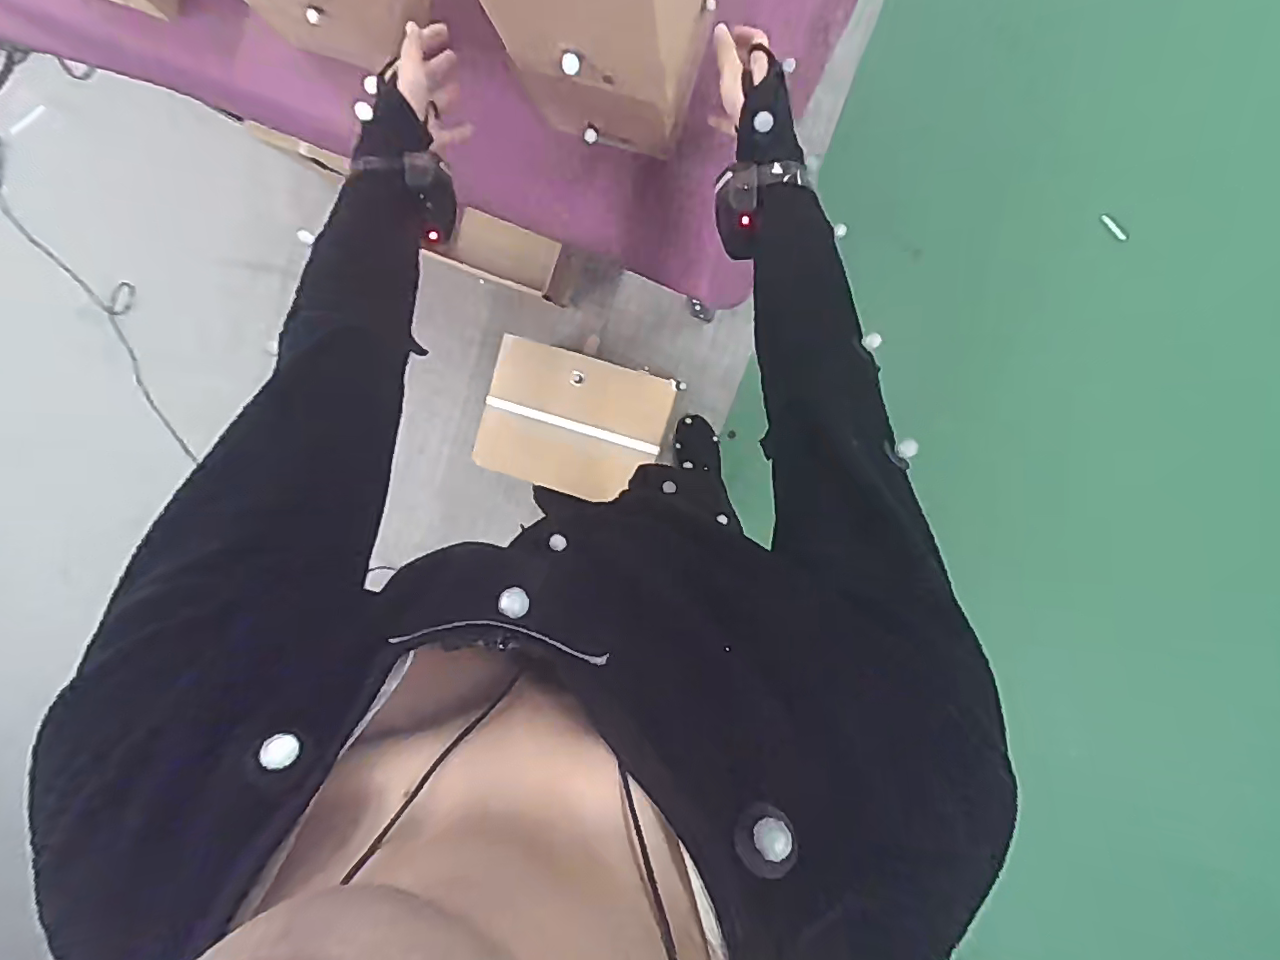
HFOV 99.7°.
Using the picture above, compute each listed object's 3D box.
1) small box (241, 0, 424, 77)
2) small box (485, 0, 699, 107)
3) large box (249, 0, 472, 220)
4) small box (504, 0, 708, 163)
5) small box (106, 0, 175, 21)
[{"bbox_3d":[-0.370,-0.618,0.631,0.179,0.176,0.168,20,99,5],"label":"small box"},{"bbox_3d":[-0.037,-0.459,0.442,0.168,0.176,0.179,19,99,6],"label":"small box"},{"bbox_3d":[-0.649,-0.915,1.301,0.320,0.320,0.408,21,102,4],"label":"large box"},{"bbox_3d":[-0.025,-0.498,0.603,0.168,0.176,0.179,19,99,6],"label":"small box"},{"bbox_3d":[-0.703,-0.730,0.661,0.168,0.176,0.179,21,100,4],"label":"small box"}]
